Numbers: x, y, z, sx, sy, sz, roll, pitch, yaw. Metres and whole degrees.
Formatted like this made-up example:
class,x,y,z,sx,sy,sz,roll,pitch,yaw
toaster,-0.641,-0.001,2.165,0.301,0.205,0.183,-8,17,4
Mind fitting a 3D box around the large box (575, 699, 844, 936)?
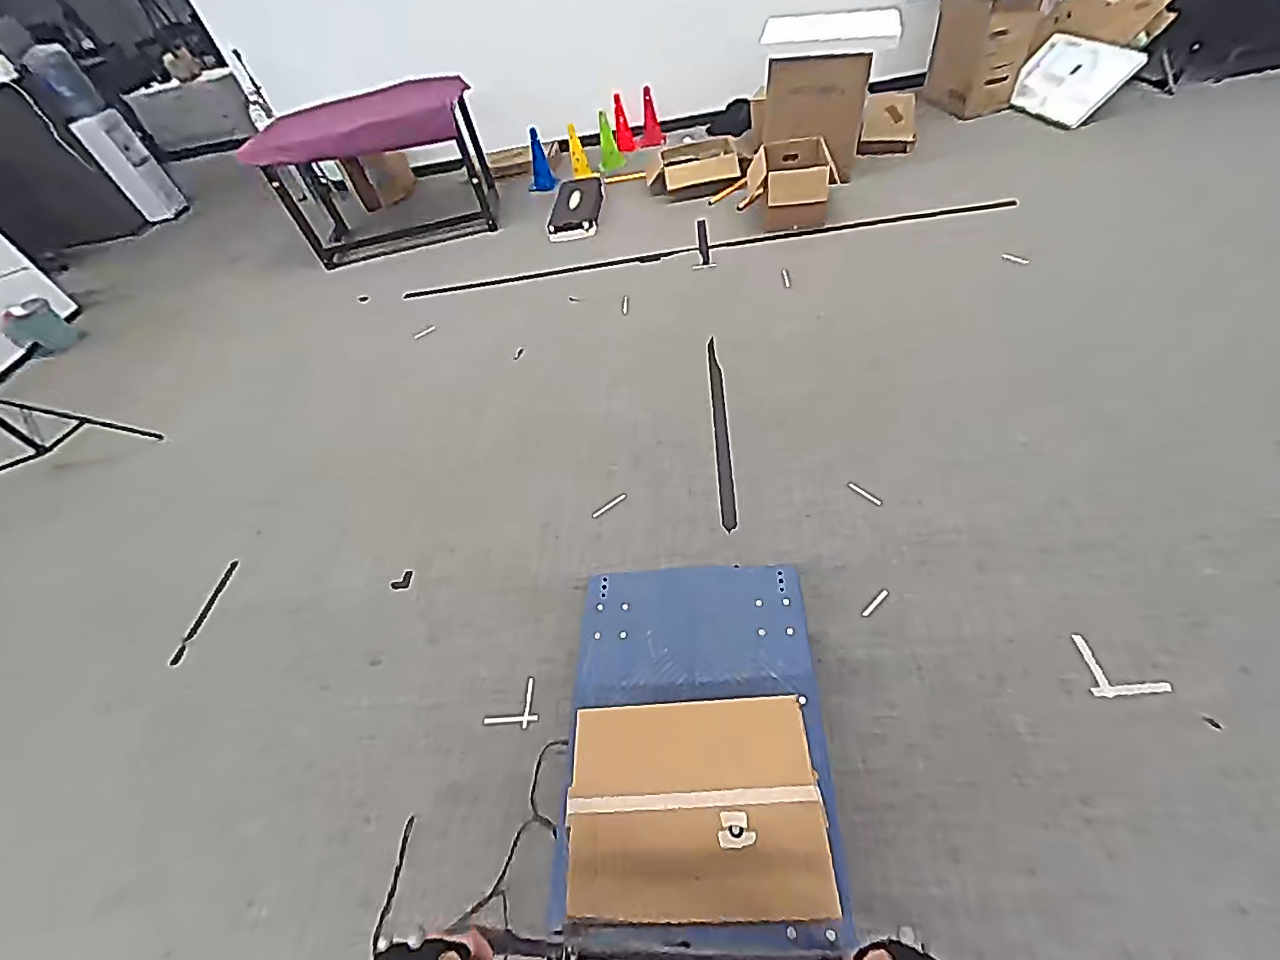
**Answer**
class,x,y,z,sx,sy,sz,roll,pitch,yaw
large box,0.112,0.627,0.996,0.408,0.320,0.320,-6,50,5
